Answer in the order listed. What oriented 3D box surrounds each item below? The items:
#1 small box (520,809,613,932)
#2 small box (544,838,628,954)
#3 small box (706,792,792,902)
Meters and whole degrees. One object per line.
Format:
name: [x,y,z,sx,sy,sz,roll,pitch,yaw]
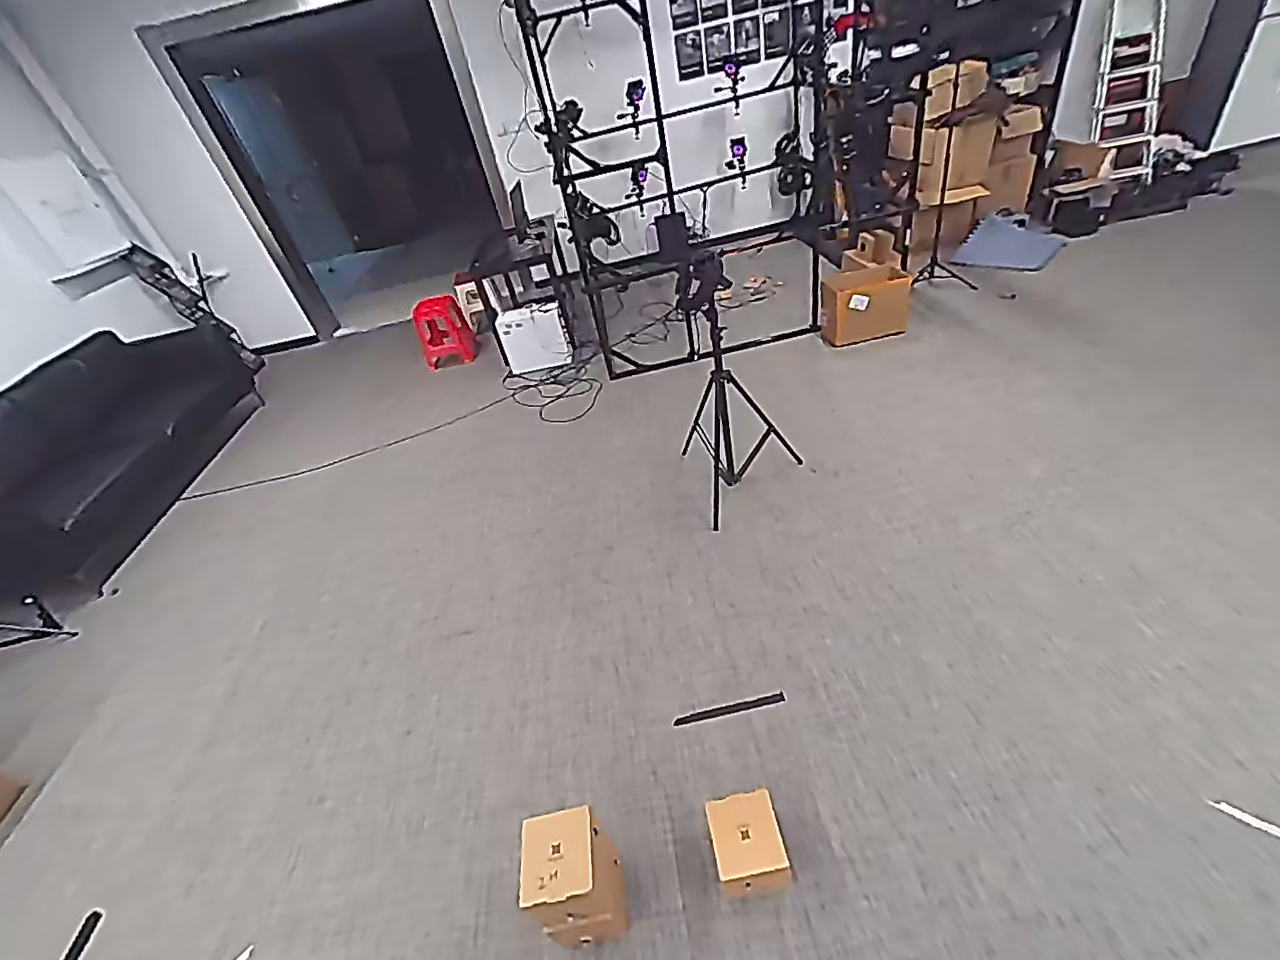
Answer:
small box: [-0.166,0.901,1.250,0.168,0.176,0.179,-15,38,2]
small box: [-0.131,1.032,1.342,0.168,0.176,0.179,-14,37,2]
small box: [0.274,0.922,1.352,0.168,0.176,0.179,-14,37,1]
